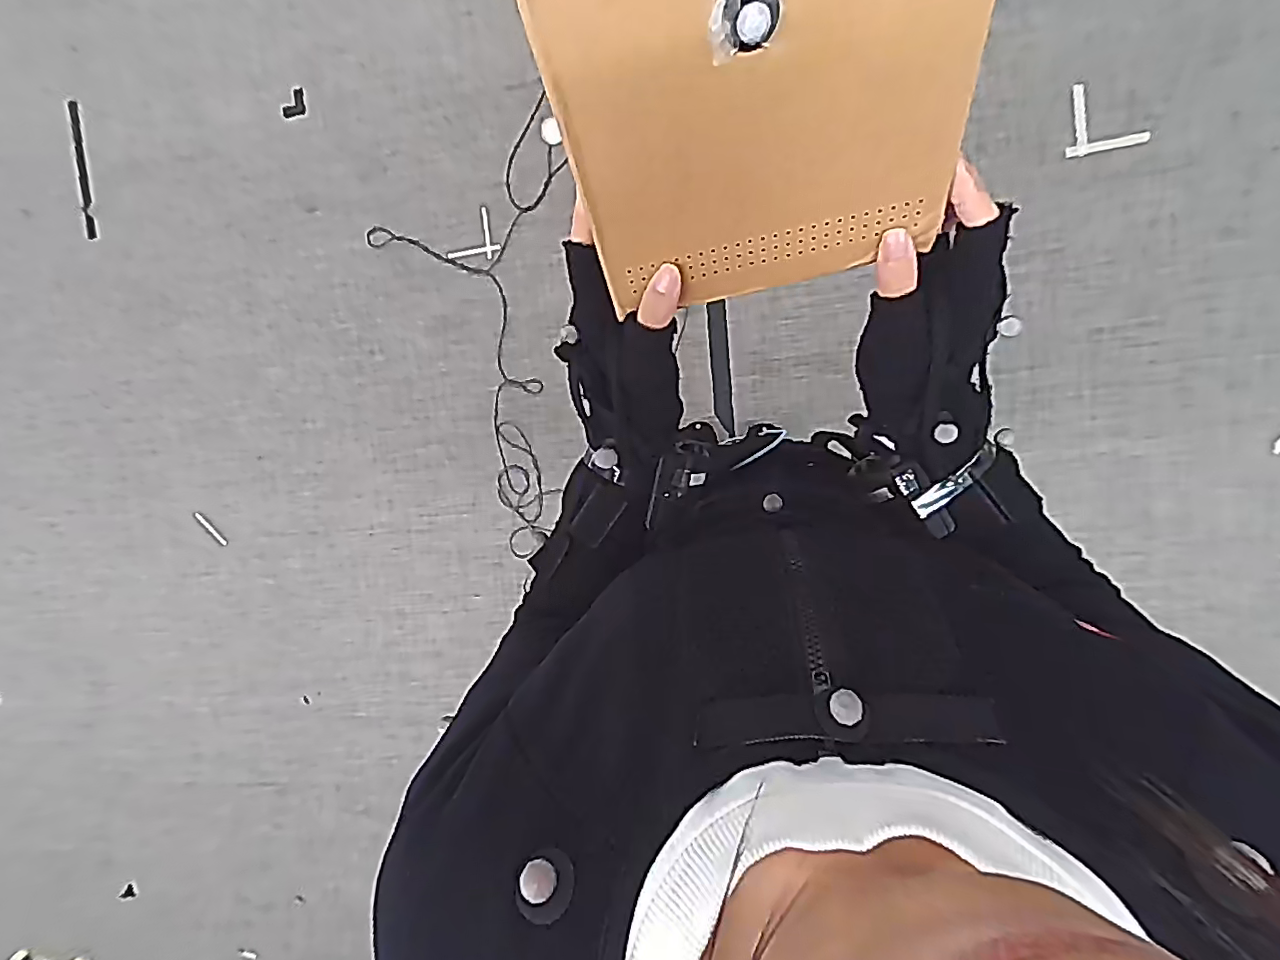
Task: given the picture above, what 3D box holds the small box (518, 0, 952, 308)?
[{"bbox_3d":[0.051,-0.220,0.297,0.179,0.176,0.168,-10,54,9],"label":"small box"}]
